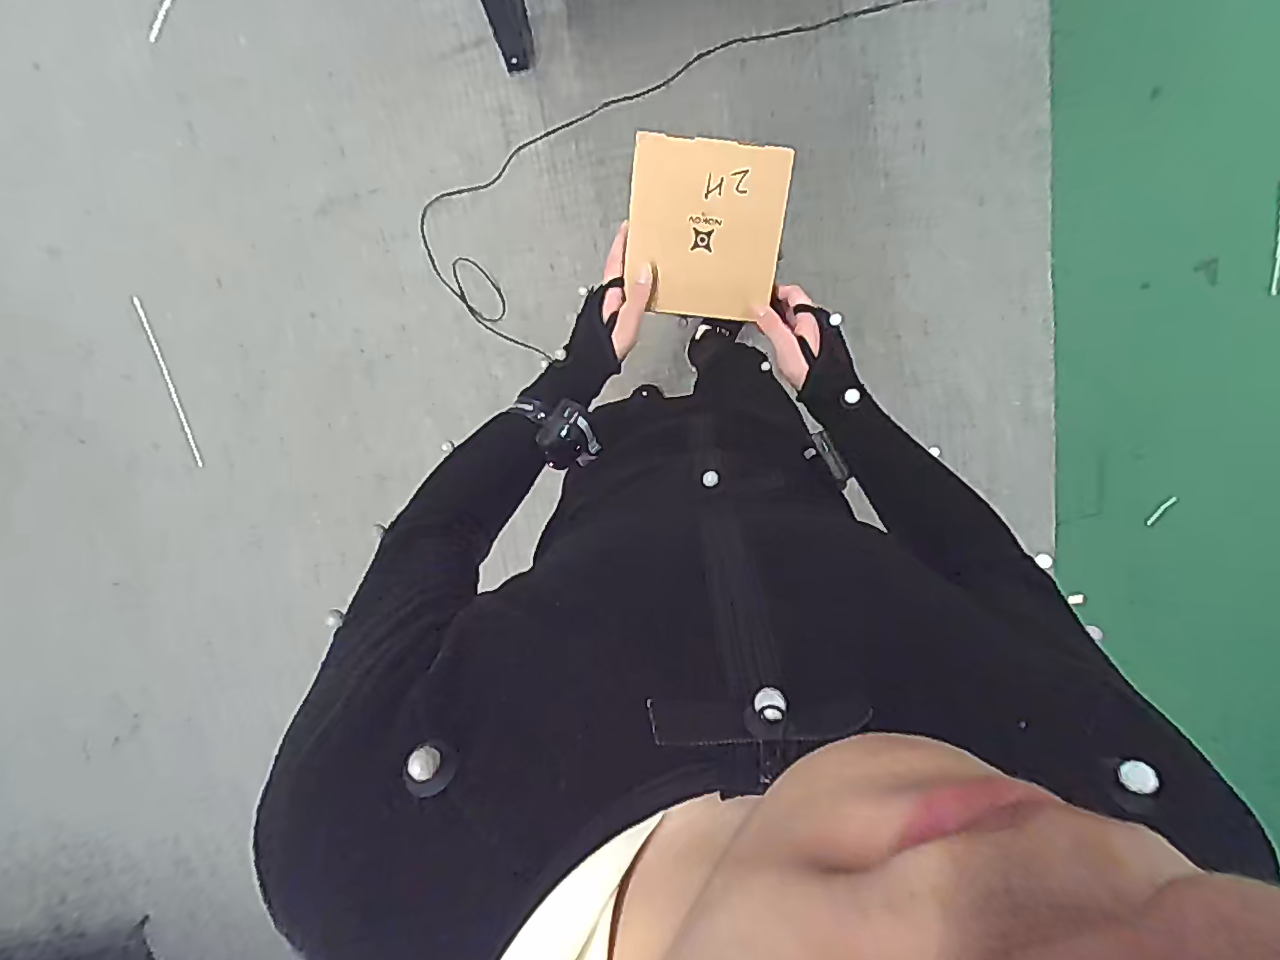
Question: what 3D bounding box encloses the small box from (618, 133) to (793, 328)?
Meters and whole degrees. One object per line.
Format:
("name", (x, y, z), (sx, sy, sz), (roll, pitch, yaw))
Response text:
("small box", (0.068, -0.283, 0.647), (0.168, 0.176, 0.179), (6, 107, -1))
